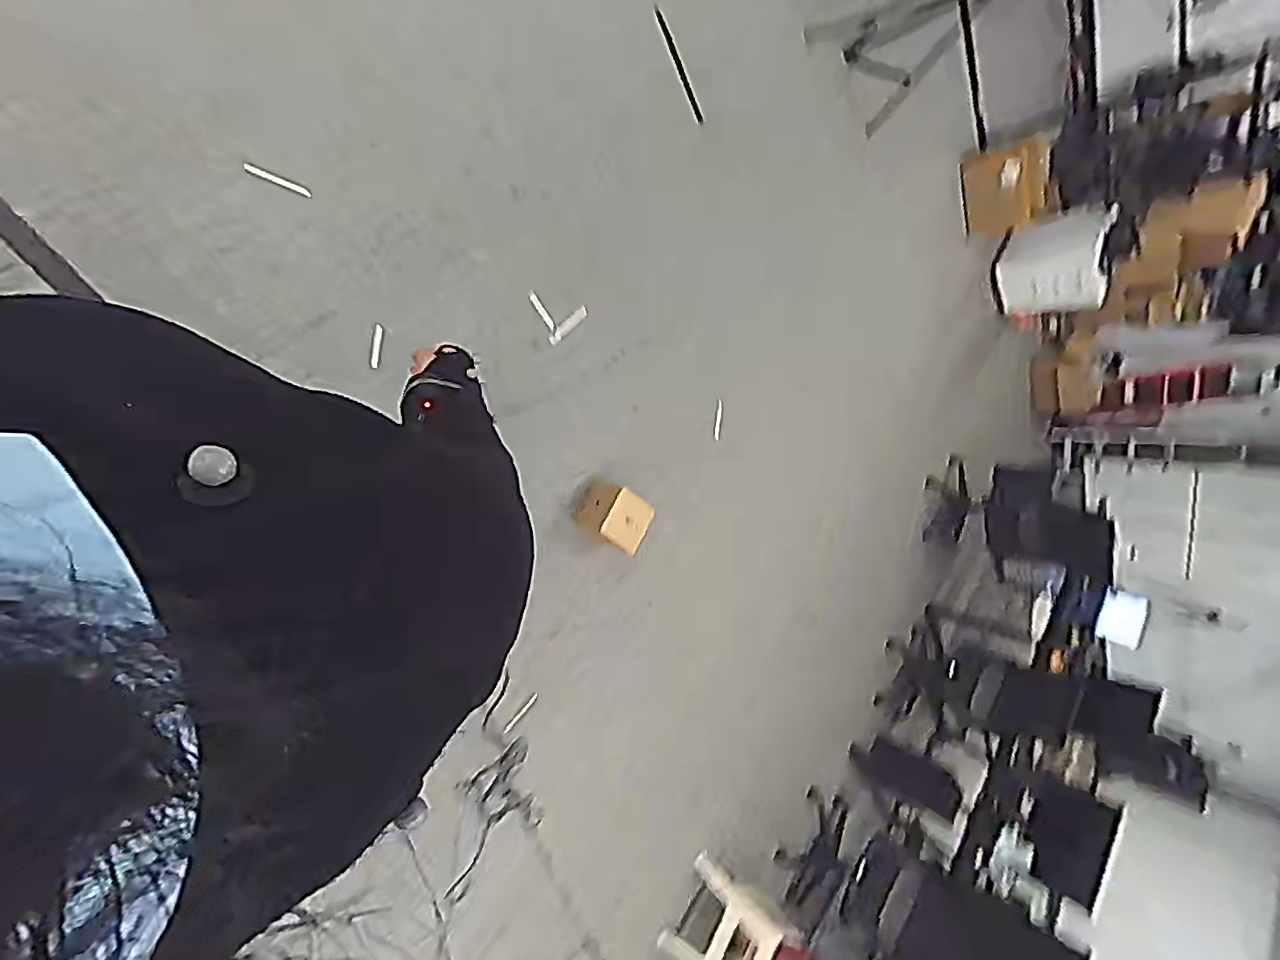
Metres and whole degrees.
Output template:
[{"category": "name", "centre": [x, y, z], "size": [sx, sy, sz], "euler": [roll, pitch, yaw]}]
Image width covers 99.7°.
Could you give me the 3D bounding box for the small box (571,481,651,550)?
[{"category": "small box", "centre": [-0.103, 0.116, 1.830], "size": [0.179, 0.176, 0.168], "euler": [41, 70, -37]}]
